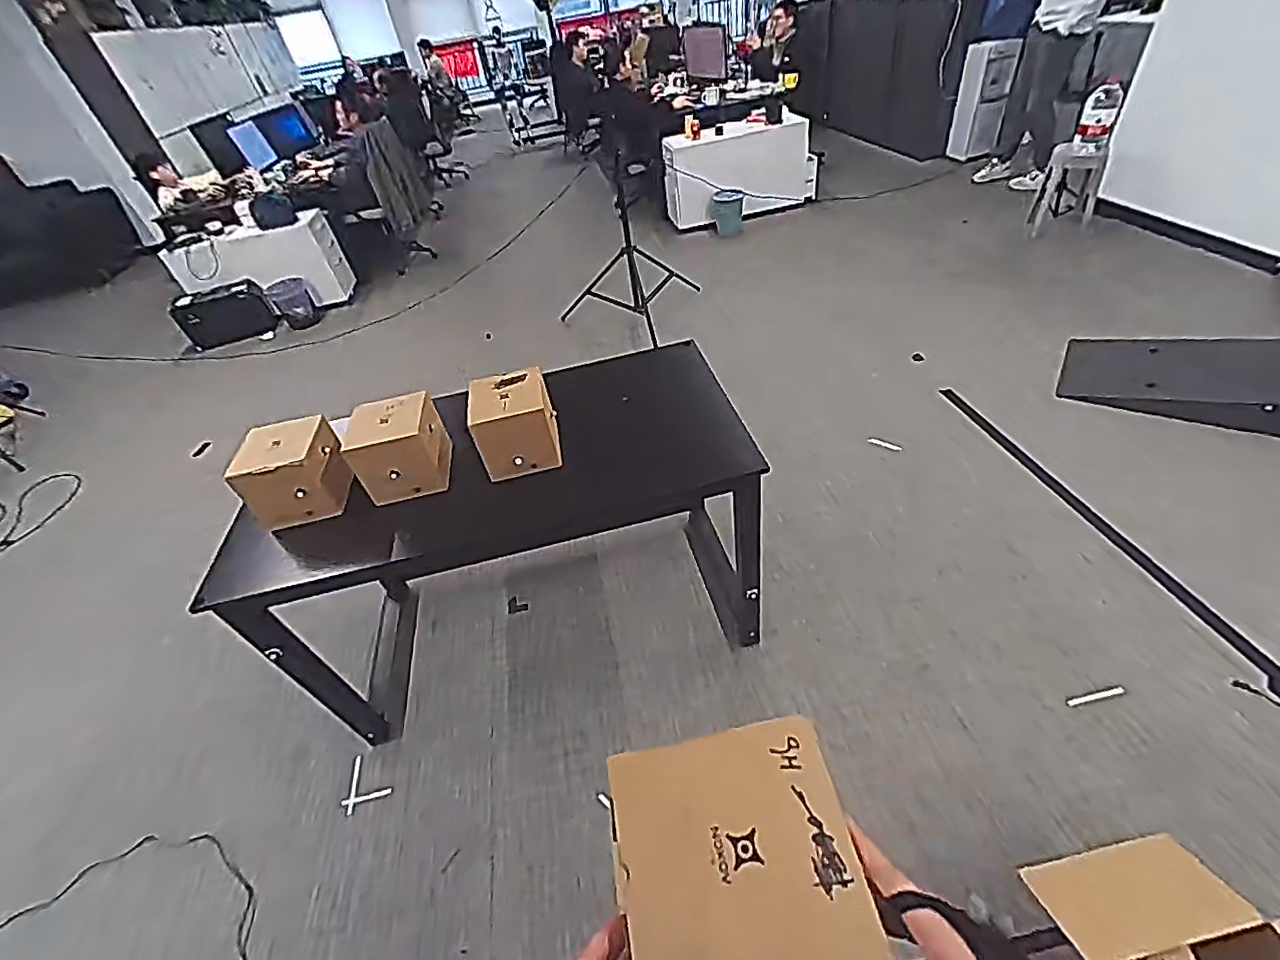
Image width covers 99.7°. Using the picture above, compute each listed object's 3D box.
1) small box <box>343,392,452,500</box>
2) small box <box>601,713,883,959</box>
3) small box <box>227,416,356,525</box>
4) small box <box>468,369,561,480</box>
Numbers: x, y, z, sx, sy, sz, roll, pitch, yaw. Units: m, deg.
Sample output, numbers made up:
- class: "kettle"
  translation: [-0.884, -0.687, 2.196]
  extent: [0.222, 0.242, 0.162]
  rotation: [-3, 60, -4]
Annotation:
- class: "small box"
  translation: [-0.543, -0.072, 1.238]
  extent: [0.168, 0.176, 0.179]
  rotation: [-13, 42, -3]
- class: "small box"
  translation: [0.073, 0.323, 0.463]
  extent: [0.179, 0.176, 0.168]
  rotation: [-11, 50, -1]
- class: "small box"
  translation: [-0.776, -0.016, 1.228]
  extent: [0.168, 0.176, 0.179]
  rotation: [-13, 41, -4]
- class: "small box"
  translation: [-0.283, -0.126, 1.245]
  extent: [0.168, 0.176, 0.179]
  rotation: [-13, 43, -3]
